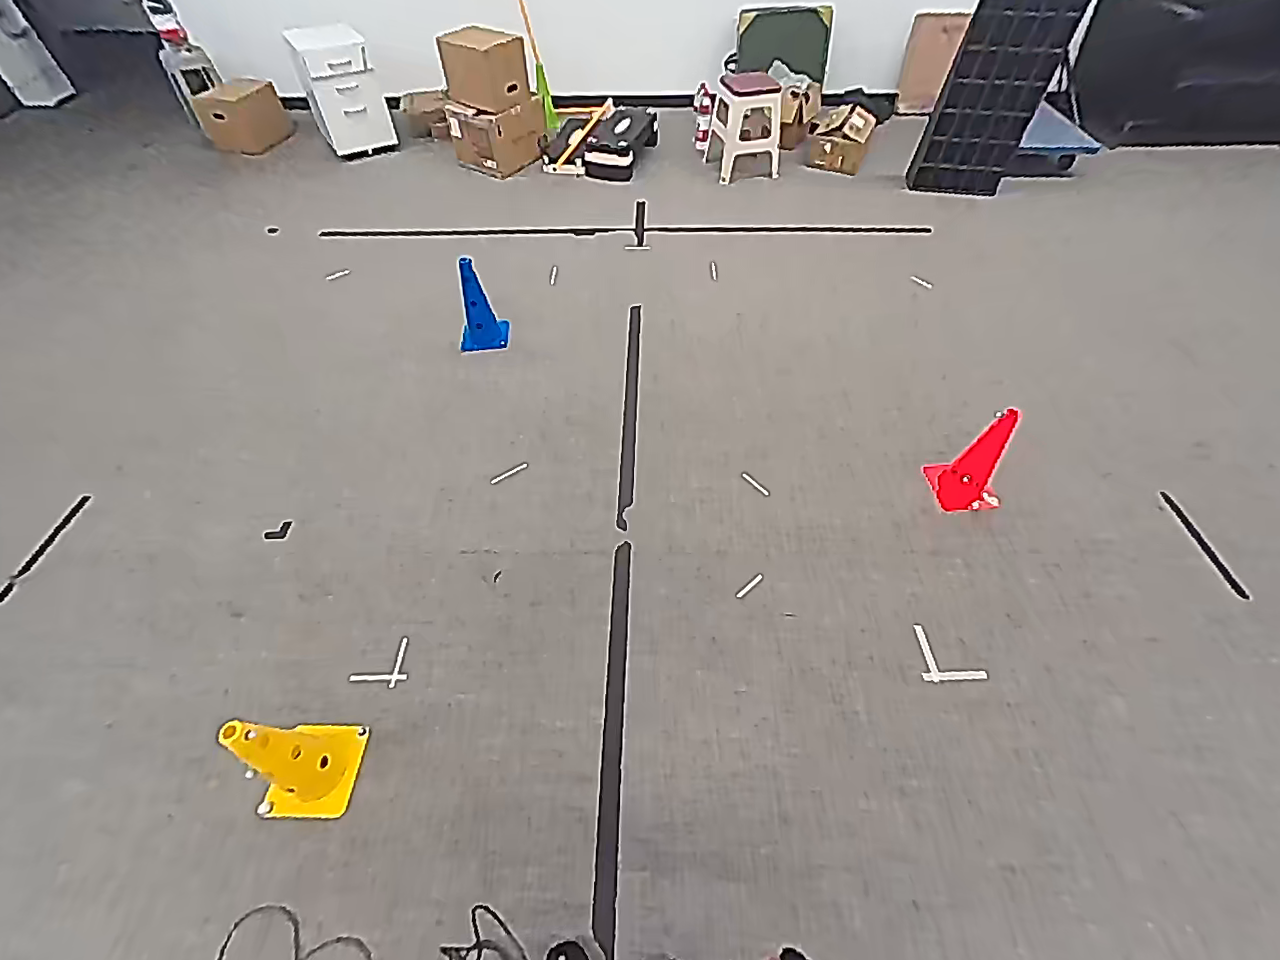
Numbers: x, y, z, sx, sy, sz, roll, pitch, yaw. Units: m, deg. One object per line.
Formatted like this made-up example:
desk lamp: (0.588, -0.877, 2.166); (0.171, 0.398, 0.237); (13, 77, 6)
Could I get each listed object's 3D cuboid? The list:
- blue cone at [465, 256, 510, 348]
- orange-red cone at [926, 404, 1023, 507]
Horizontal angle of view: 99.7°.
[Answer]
blue cone: (-0.672, -0.747, 2.253); (0.192, 0.380, 0.193); (-4, 51, -2)
orange-red cone: (1.091, -0.098, 1.702); (0.198, 0.360, 0.199); (-3, 50, -2)
